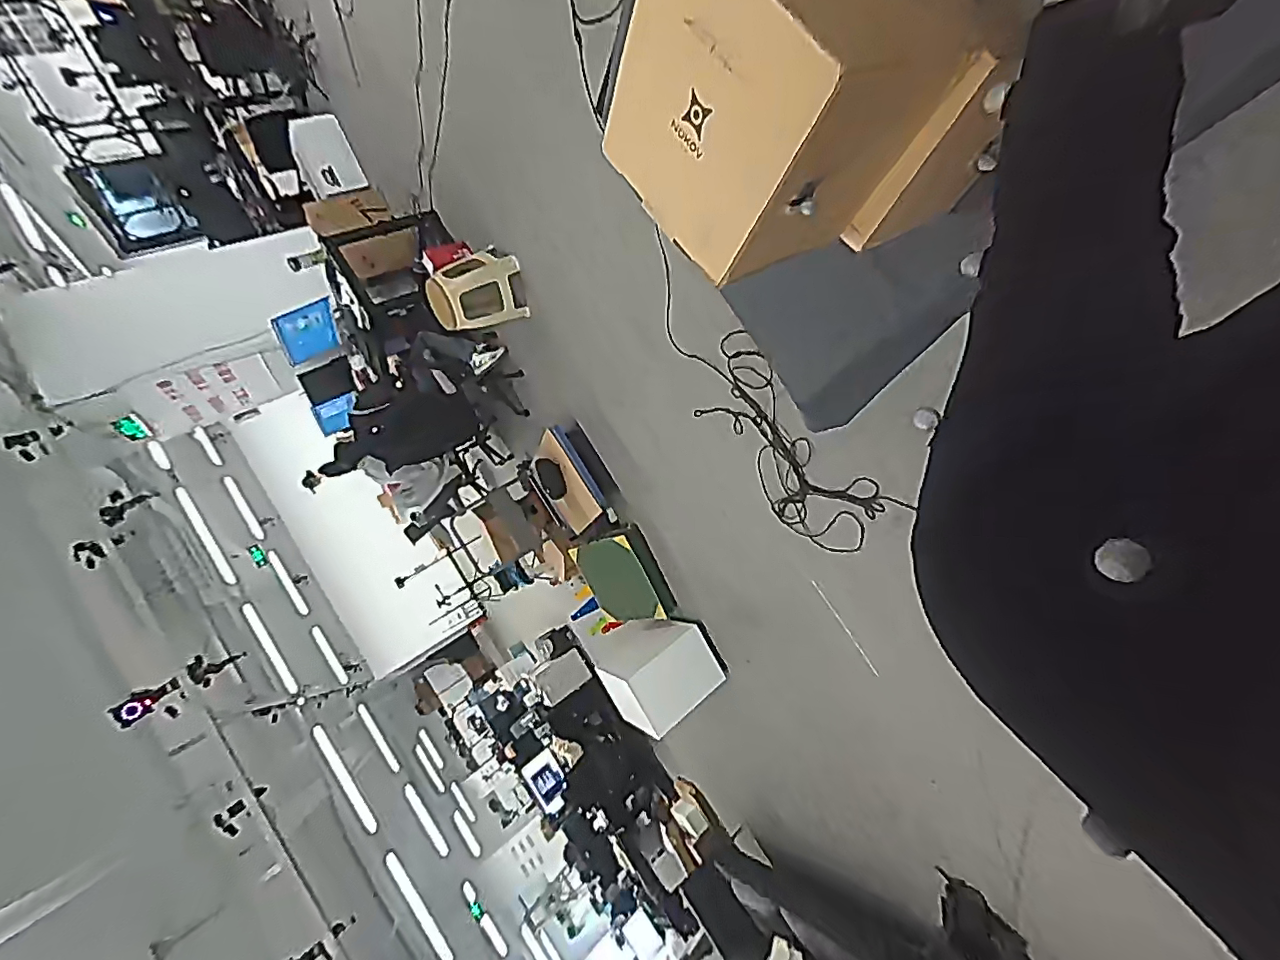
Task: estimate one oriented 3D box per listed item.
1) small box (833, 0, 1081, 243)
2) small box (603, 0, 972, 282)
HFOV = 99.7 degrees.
[{"bbox_3d":[0.232,-0.355,0.488,0.179,0.176,0.168,52,153,13],"label":"small box"},{"bbox_3d":[0.100,-0.293,0.413,0.168,0.176,0.179,53,152,9],"label":"small box"}]
